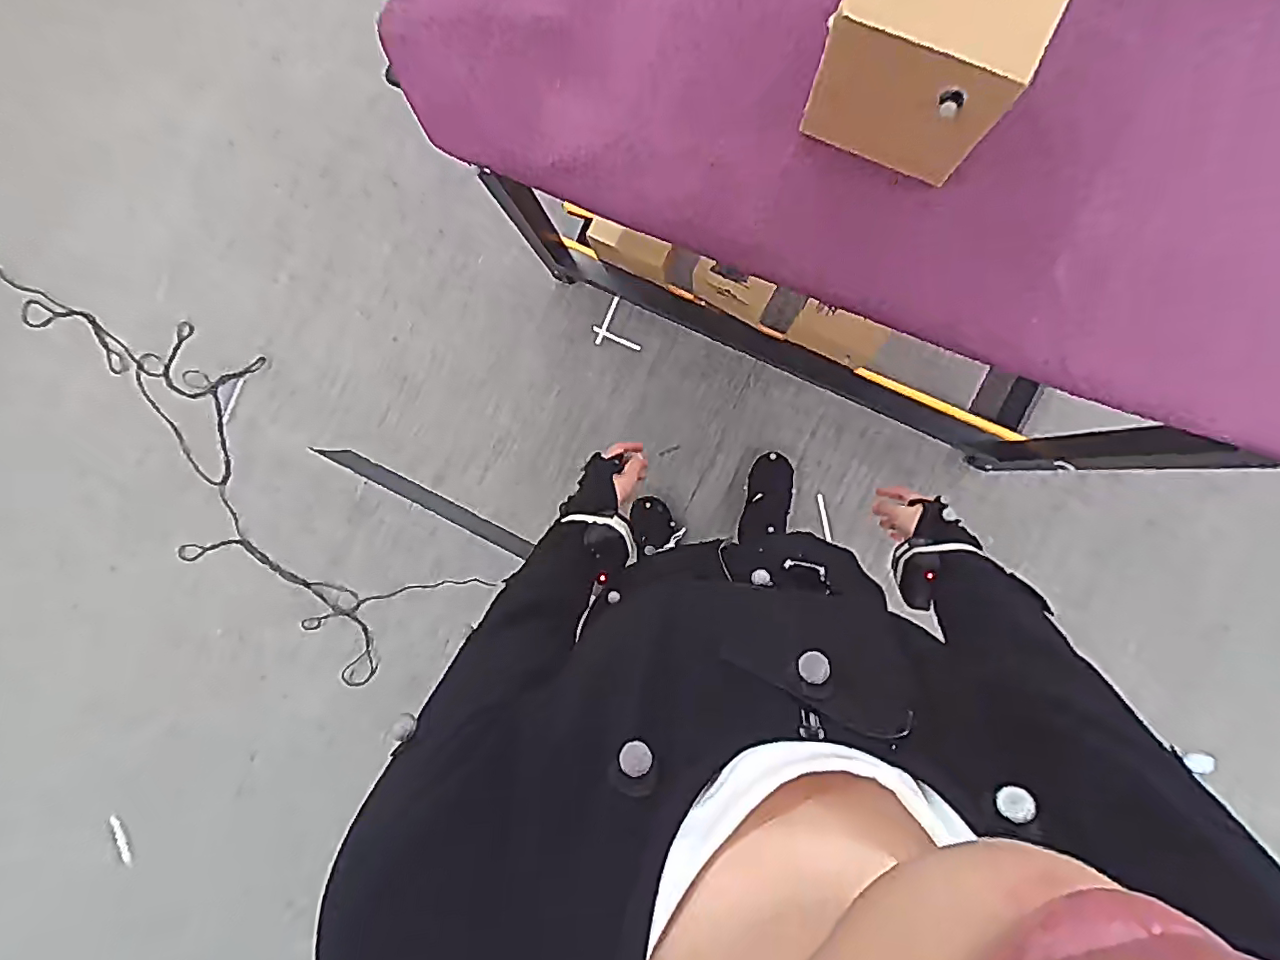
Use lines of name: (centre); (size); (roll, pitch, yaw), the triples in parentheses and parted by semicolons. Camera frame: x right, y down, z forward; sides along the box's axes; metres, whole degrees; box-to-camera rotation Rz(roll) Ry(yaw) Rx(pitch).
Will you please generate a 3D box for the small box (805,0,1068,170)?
small box: (0.289, -0.446, 0.533); (0.179, 0.176, 0.168); (25, 92, 5)
